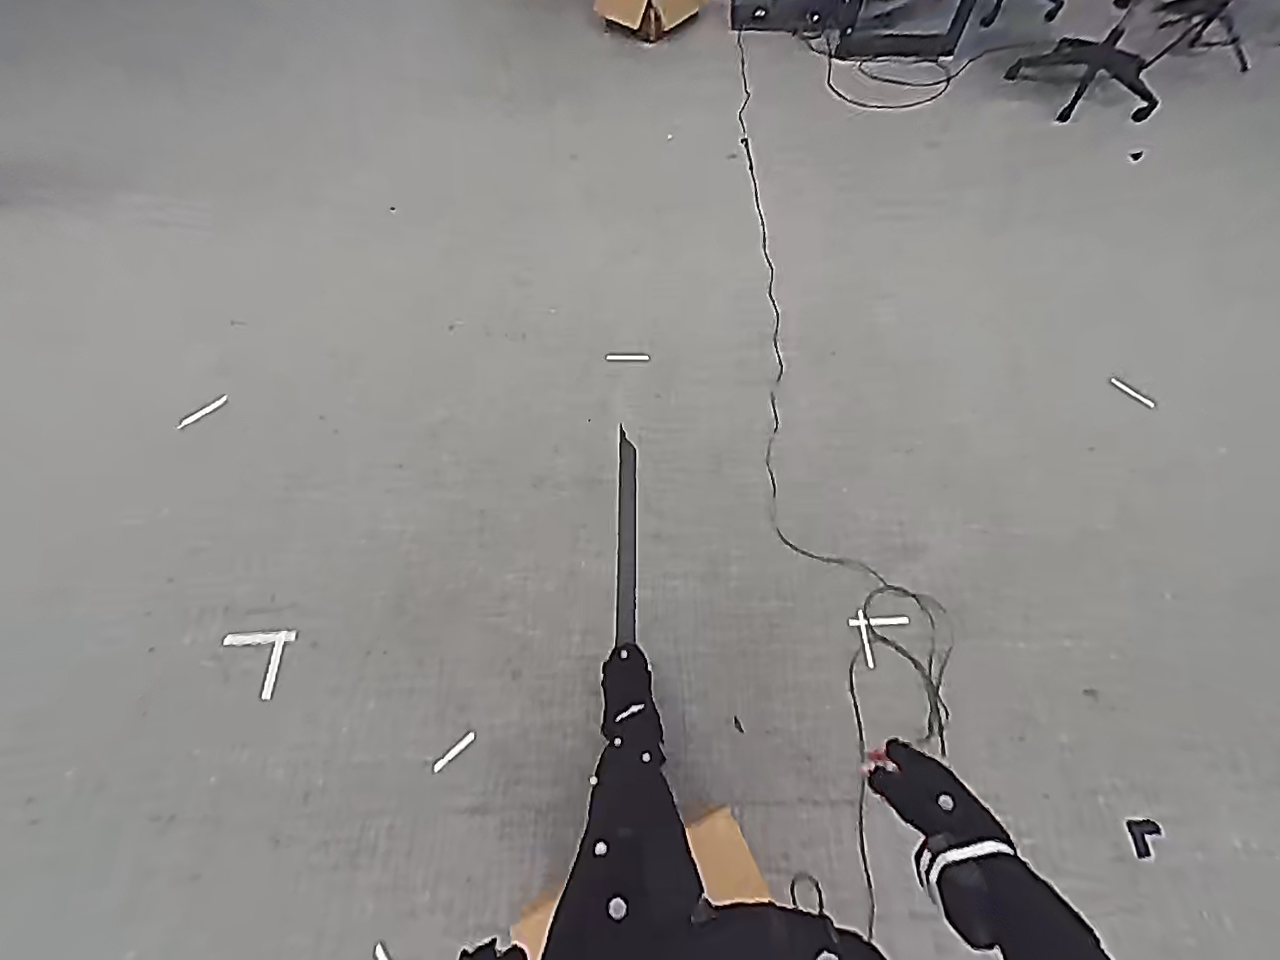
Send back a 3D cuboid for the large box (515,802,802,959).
[{"bbox_3d":[0.038,0.832,0.968,0.408,0.320,0.320,-22,63,-12],"label":"large box"}]
